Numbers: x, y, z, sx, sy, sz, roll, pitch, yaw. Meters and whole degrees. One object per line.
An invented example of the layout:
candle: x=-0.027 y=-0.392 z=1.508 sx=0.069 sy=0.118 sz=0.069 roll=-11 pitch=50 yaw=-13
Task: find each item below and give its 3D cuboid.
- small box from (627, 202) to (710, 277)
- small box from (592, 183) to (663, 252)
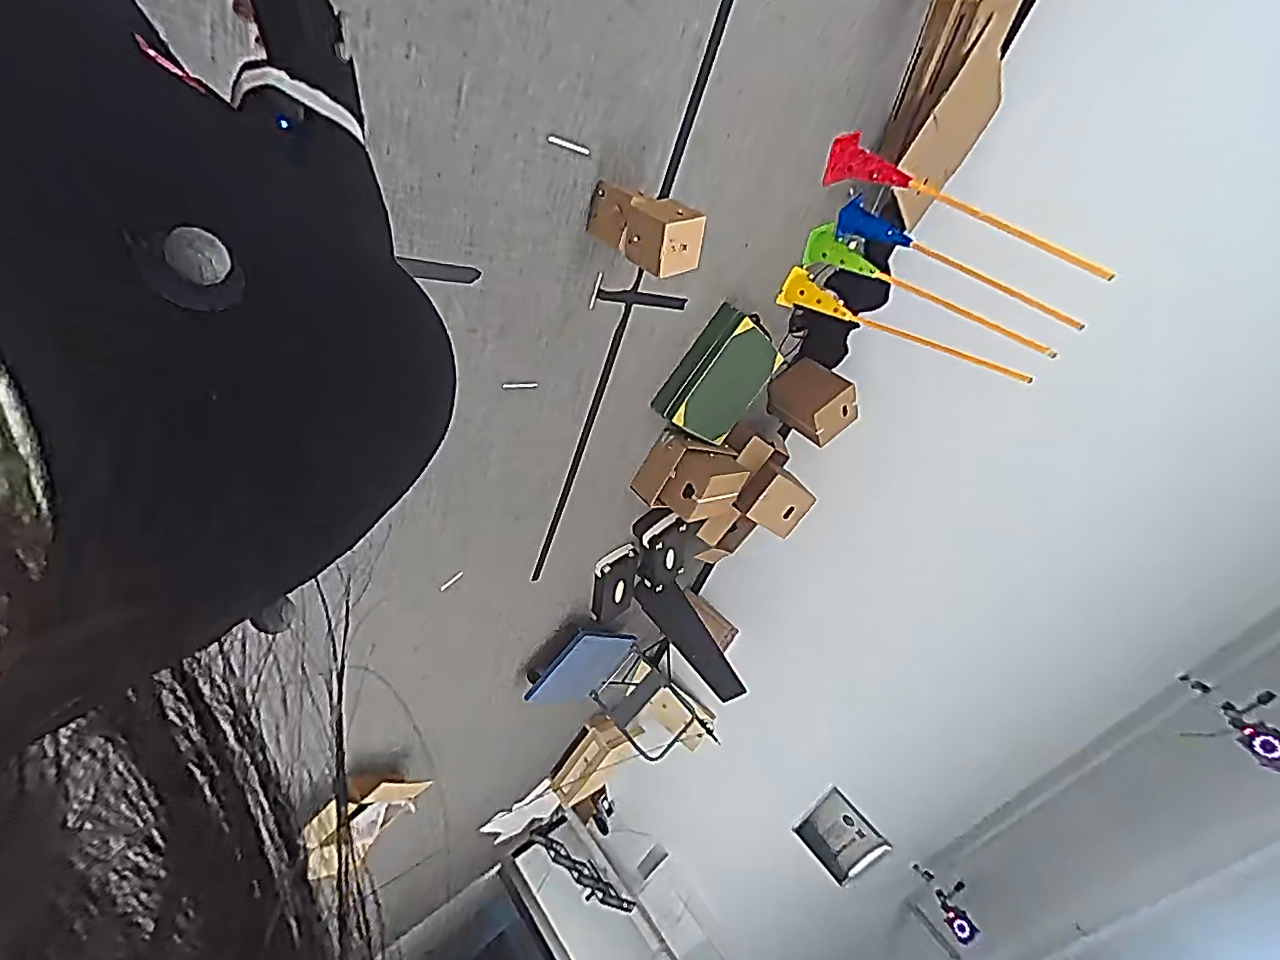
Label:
small box: x=0.084 y=-0.756 z=1.688 sx=0.179 sy=0.176 sz=0.168 roll=-23 pitch=141 yaw=-33
small box: x=-0.030 y=-0.848 z=1.763 sx=0.179 sy=0.176 sz=0.168 roll=-15 pitch=138 yaw=-44
